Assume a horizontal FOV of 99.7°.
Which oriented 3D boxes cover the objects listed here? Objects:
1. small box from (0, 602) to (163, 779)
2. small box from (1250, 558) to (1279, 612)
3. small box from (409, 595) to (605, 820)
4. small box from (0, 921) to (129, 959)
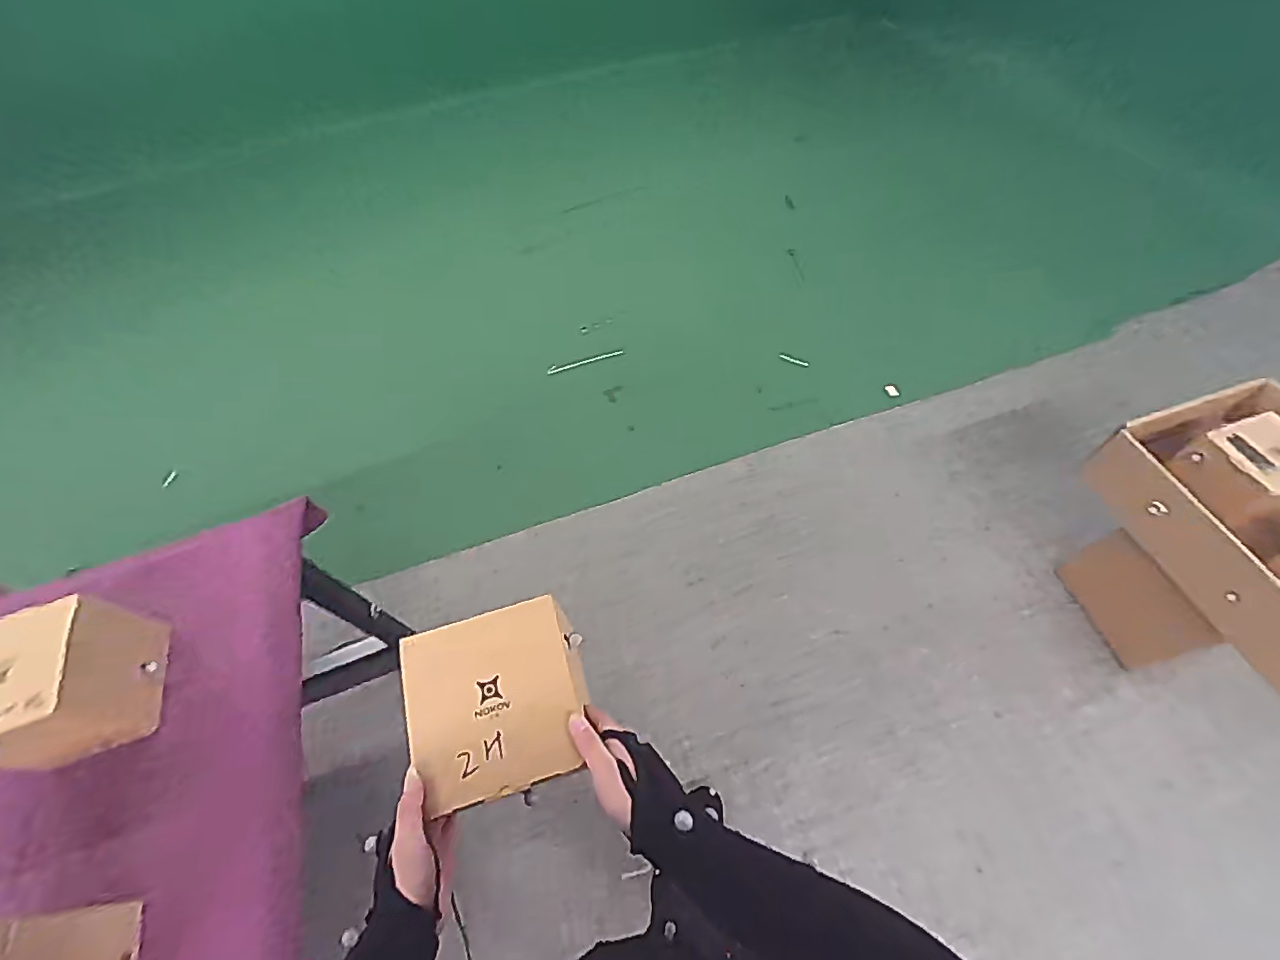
[{"bbox_3d":[-0.845,0.308,0.782,0.168,0.176,0.179,-19,58,-7],"label":"small box"},{"bbox_3d":[1.380,0.199,1.046,0.179,0.176,0.168,-17,59,-5],"label":"small box"},{"bbox_3d":[-0.141,0.252,0.605,0.168,0.176,0.179,-15,64,-7],"label":"small box"},{"bbox_3d":[-0.711,0.613,0.579,0.179,0.176,0.168,-20,58,-8],"label":"small box"}]
